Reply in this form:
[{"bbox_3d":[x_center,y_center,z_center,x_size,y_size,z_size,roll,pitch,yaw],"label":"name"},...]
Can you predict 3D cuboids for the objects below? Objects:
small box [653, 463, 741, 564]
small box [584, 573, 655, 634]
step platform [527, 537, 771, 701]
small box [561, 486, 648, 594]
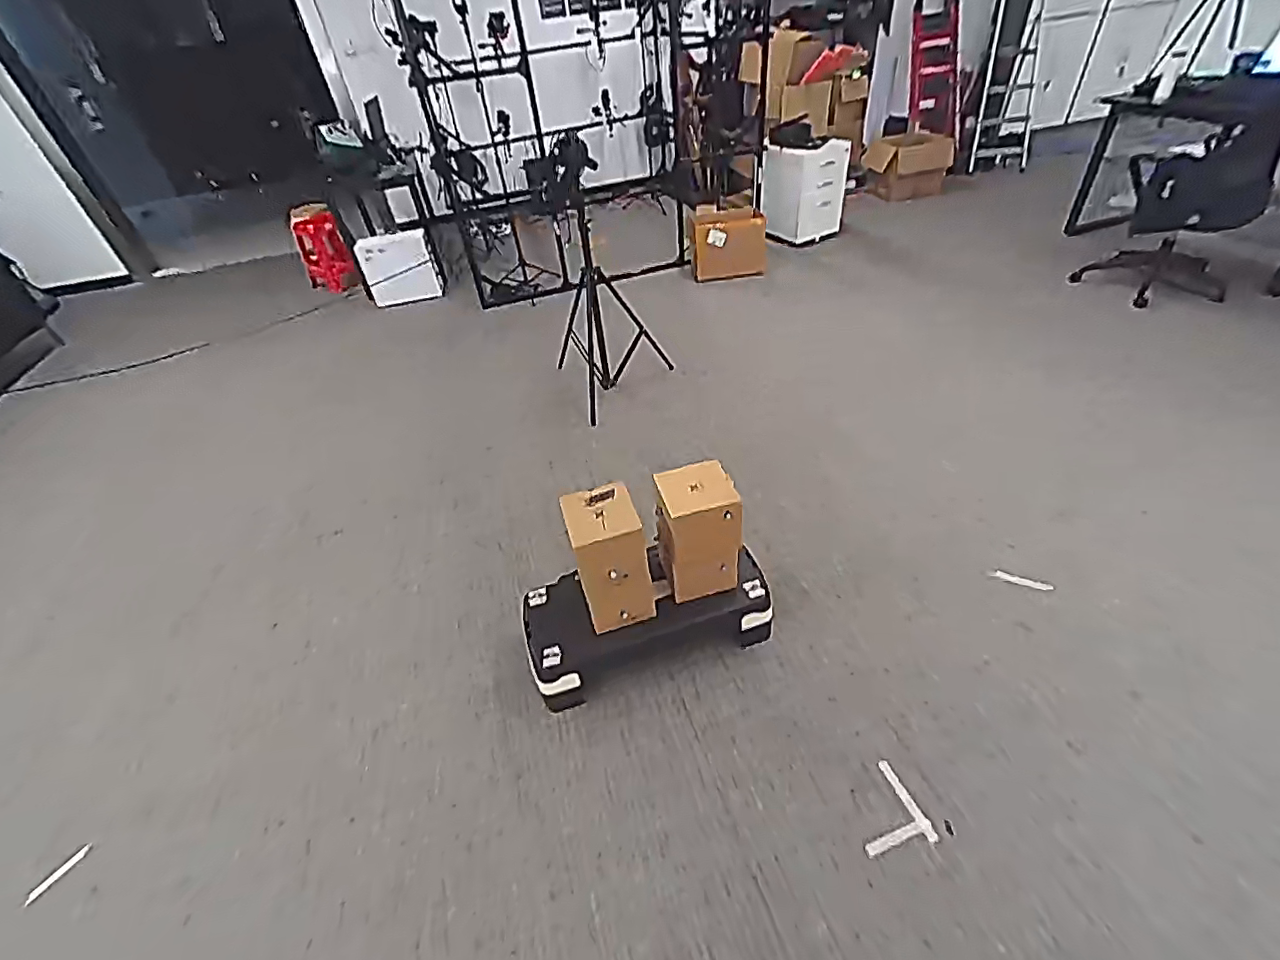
[{"bbox_3d":[0.143,0.087,1.351,0.179,0.176,0.168,-14,41,-8],"label":"small box"},{"bbox_3d":[-0.066,0.271,1.419,0.168,0.176,0.179,-15,41,-8],"label":"small box"},{"bbox_3d":[0.025,0.369,1.558,0.684,0.204,0.286,-17,41,-10],"label":"step platform"},{"bbox_3d":[-0.086,0.145,1.314,0.168,0.176,0.179,-15,41,-9],"label":"small box"}]
